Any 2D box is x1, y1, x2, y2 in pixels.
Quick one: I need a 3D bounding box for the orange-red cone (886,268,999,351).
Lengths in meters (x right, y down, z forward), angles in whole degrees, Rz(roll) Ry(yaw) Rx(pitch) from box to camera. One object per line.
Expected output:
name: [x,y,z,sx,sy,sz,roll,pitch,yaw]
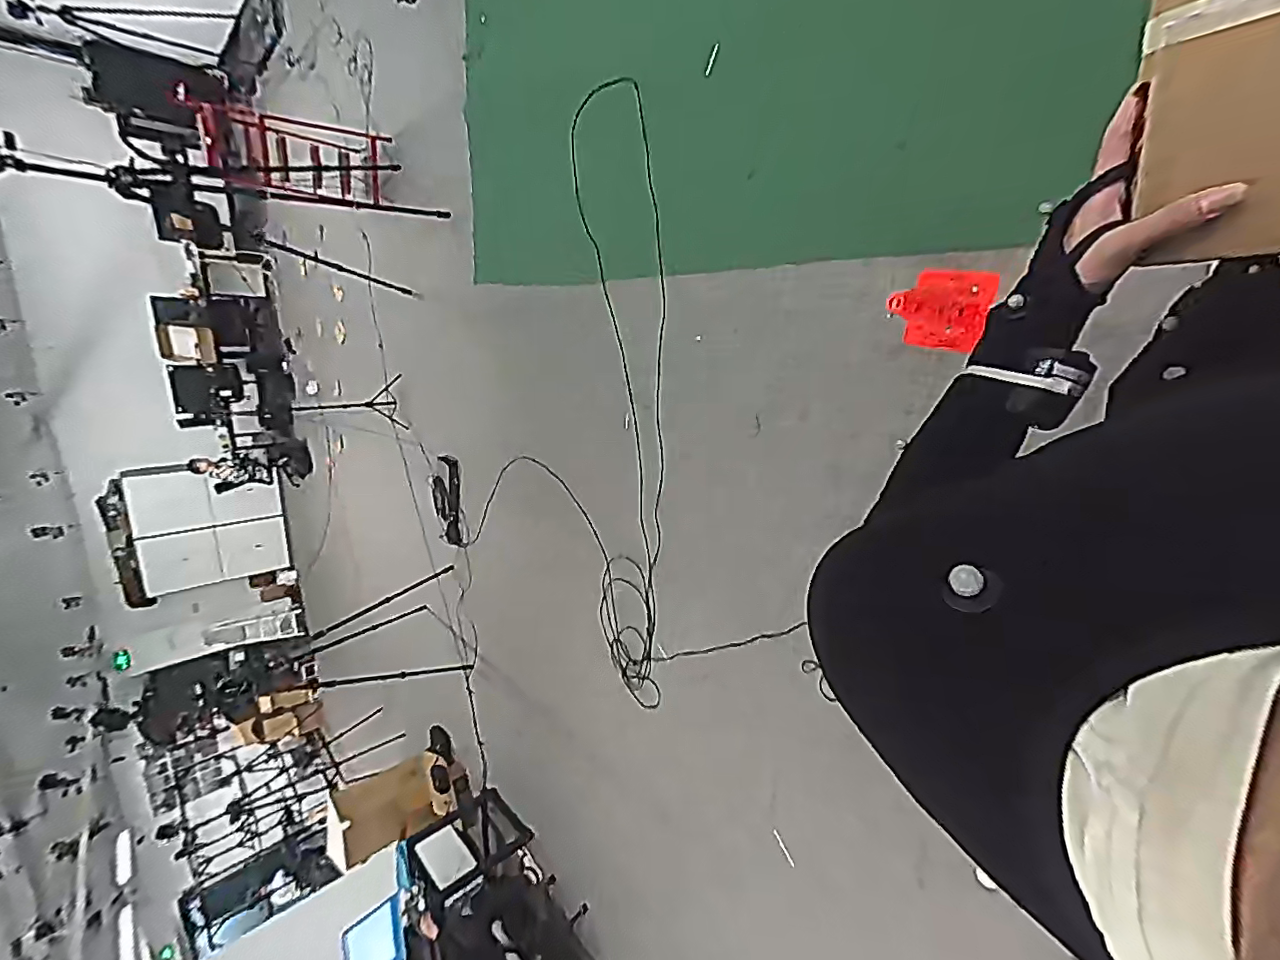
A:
orange-red cone: [0.698,-0.432,1.331,0.199,0.360,0.198,27,117,42]
